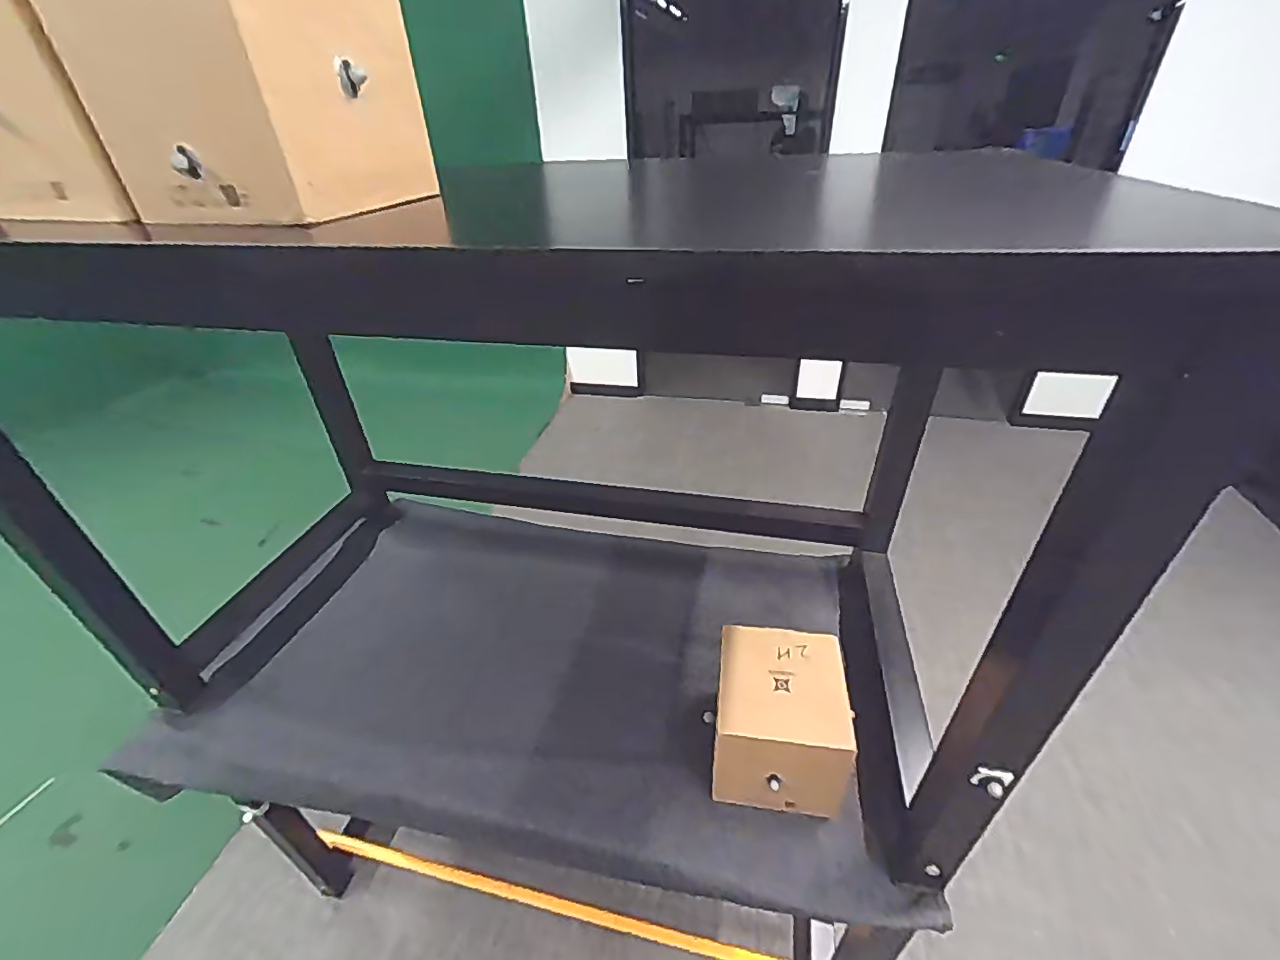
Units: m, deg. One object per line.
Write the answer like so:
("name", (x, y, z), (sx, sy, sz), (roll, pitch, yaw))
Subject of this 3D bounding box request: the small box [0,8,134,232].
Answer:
("small box", (-0.657, -0.347, 0.524), (0.168, 0.176, 0.179), (5, 36, 11))

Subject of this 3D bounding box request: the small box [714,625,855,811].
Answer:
("small box", (0.194, 0.334, 0.765), (0.168, 0.176, 0.179), (4, 34, 9))
